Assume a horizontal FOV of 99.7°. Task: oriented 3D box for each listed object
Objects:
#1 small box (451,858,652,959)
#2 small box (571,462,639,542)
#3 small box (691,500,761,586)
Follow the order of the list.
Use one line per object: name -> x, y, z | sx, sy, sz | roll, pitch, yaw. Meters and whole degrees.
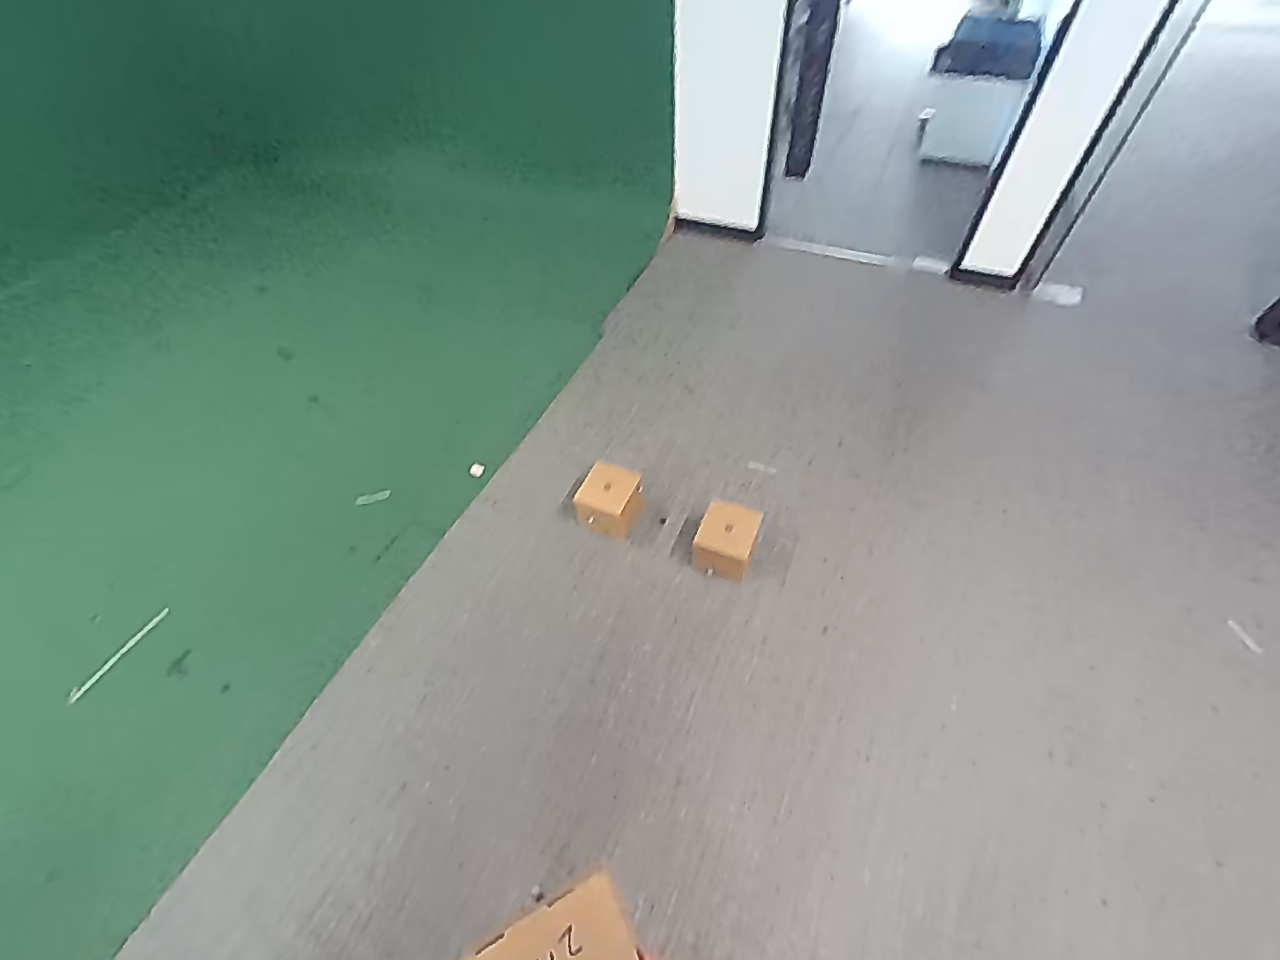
small box -> -0.069, 0.515, 0.539 | 0.168, 0.176, 0.179 | -22, 62, -16
small box -> -0.106, 0.077, 1.775 | 0.168, 0.176, 0.179 | 18, 54, 16
small box -> 0.259, 0.196, 1.667 | 0.168, 0.176, 0.179 | 18, 55, 16
